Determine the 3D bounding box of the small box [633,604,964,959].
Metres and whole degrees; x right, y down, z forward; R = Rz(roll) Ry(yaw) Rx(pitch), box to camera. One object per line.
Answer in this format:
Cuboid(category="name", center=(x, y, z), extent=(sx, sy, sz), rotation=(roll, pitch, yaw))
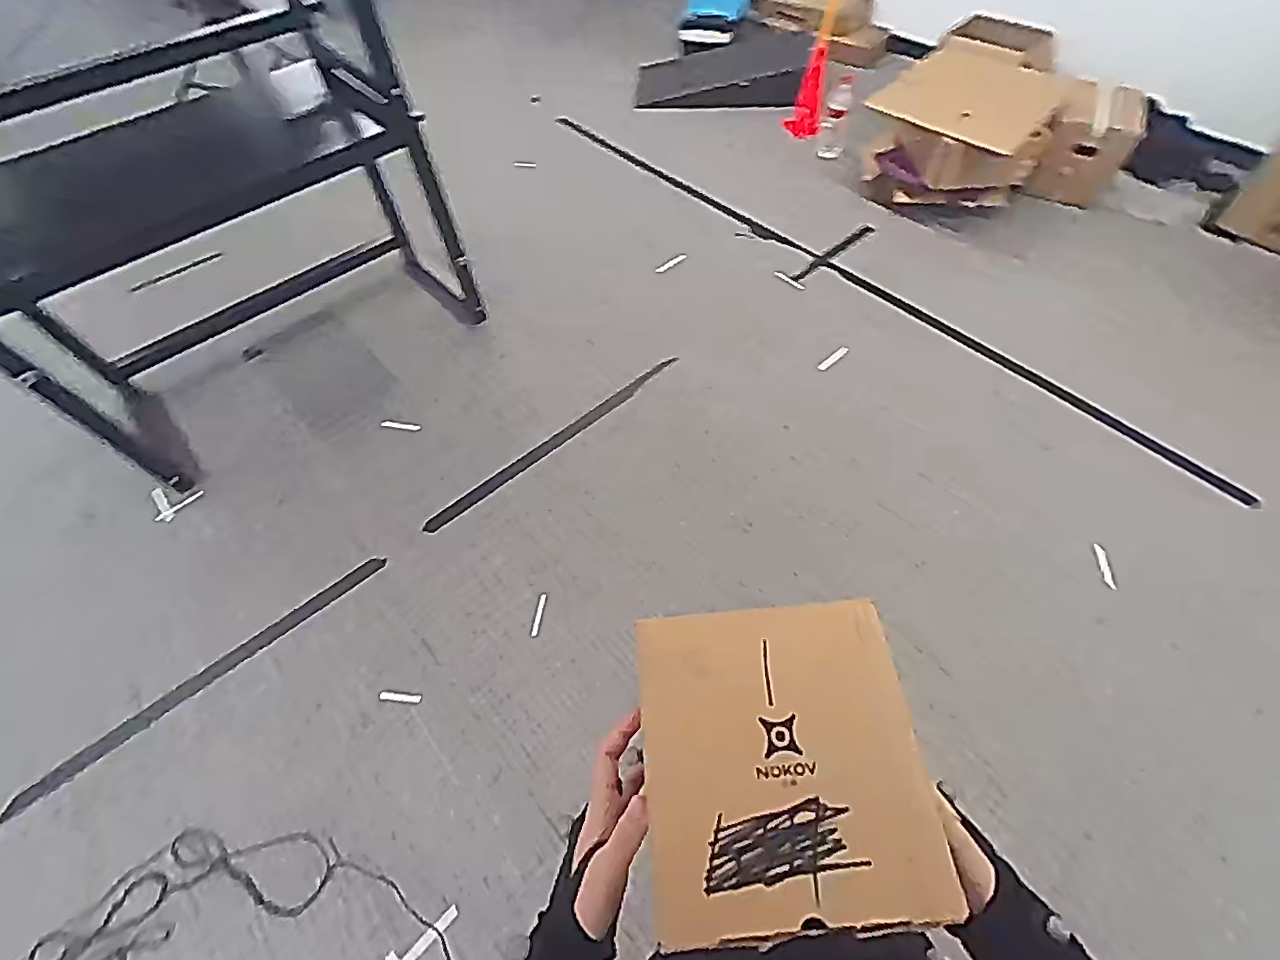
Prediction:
Cuboid(category="small box", center=(0.086, 0.205, 0.391), extent=(0.168, 0.176, 0.179), rotation=(-5, 60, -2))
